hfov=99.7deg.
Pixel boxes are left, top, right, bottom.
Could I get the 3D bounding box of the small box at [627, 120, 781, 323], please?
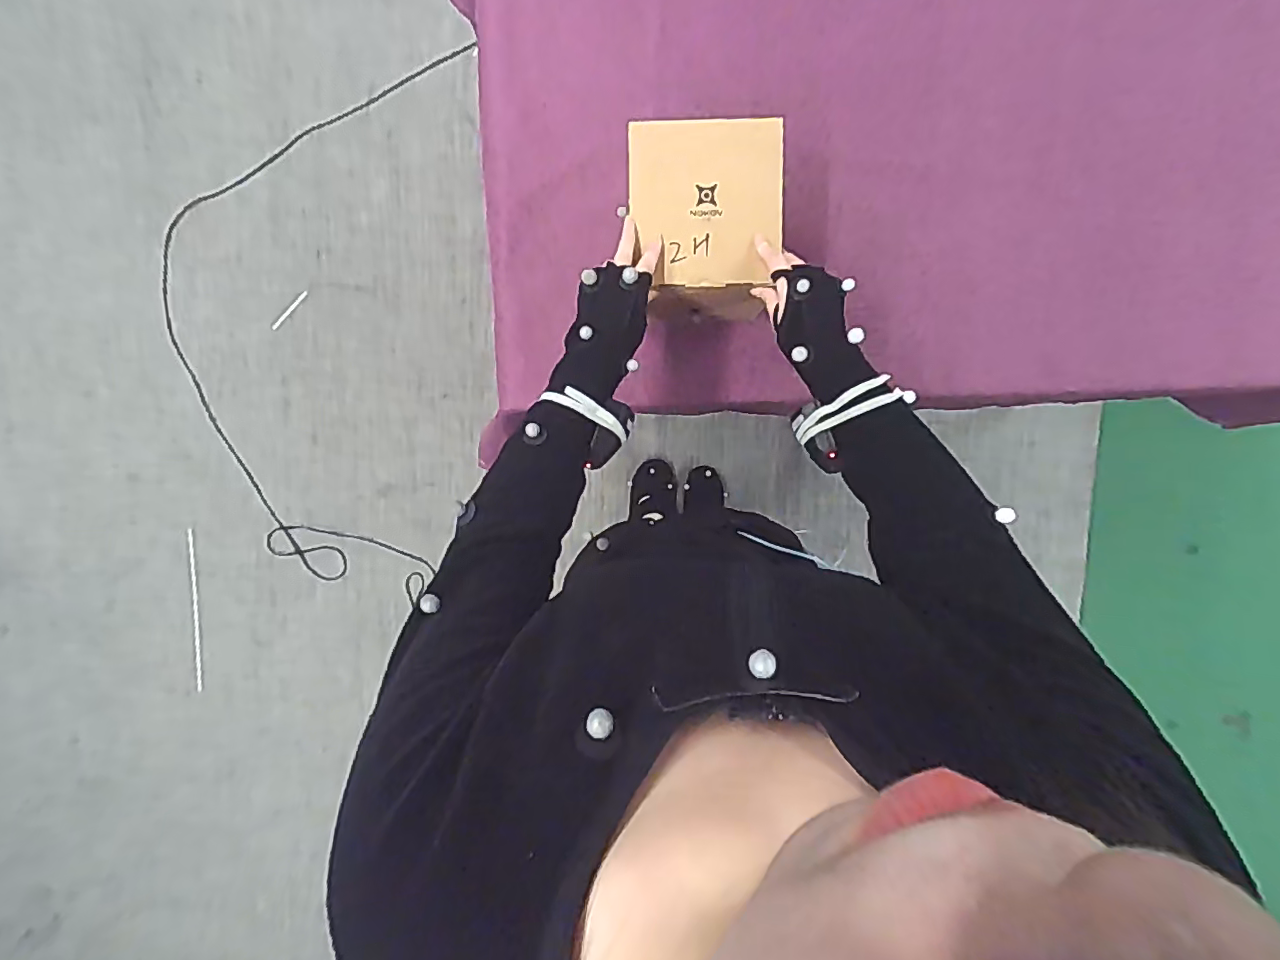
[{"bbox_3d":[0.070,-0.299,0.659,0.168,0.176,0.179,0,94,2],"label":"small box"}]
